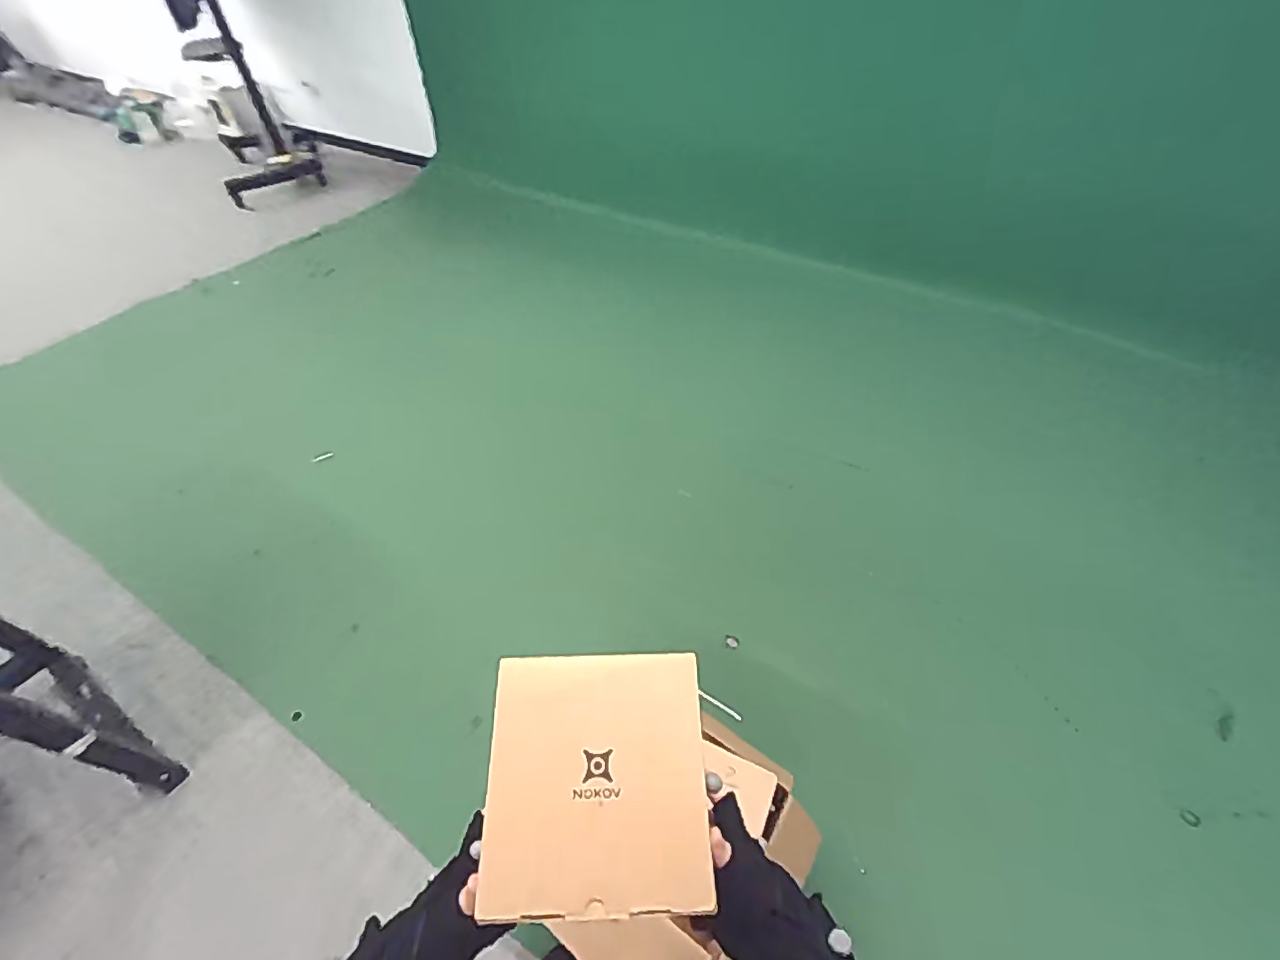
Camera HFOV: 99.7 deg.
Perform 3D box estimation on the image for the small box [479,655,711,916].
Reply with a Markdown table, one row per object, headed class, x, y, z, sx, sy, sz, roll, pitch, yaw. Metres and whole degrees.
| class | x | y | z | sx | sy | sz | roll | pitch | yaw |
| --- | --- | --- | --- | --- | --- | --- | --- | --- | --- |
| small box | -0.036 | 0.266 | 0.488 | 0.168 | 0.176 | 0.179 | -1 | 60 | -3 |
